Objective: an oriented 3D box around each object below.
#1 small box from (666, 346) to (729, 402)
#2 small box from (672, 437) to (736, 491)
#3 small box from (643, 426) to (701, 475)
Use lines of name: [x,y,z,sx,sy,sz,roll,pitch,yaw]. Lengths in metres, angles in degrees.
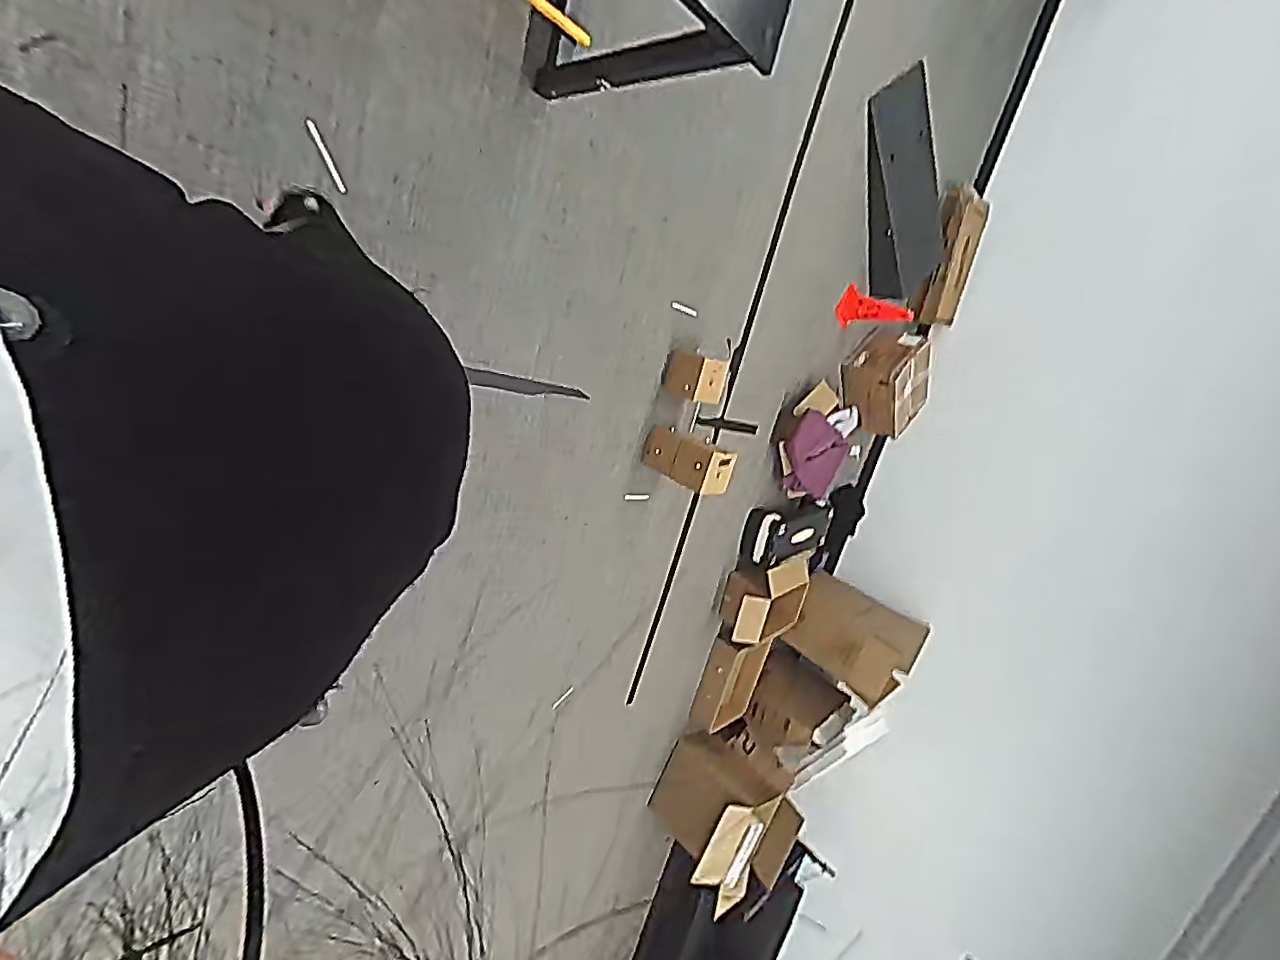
small box: [0.225,-0.427,2.181,0.168,0.176,0.179,-3,113,-46]
small box: [0.251,-0.065,2.161,0.168,0.176,0.179,1,112,-47]
small box: [0.139,-0.122,2.269,0.179,0.176,0.168,3,109,-46]
